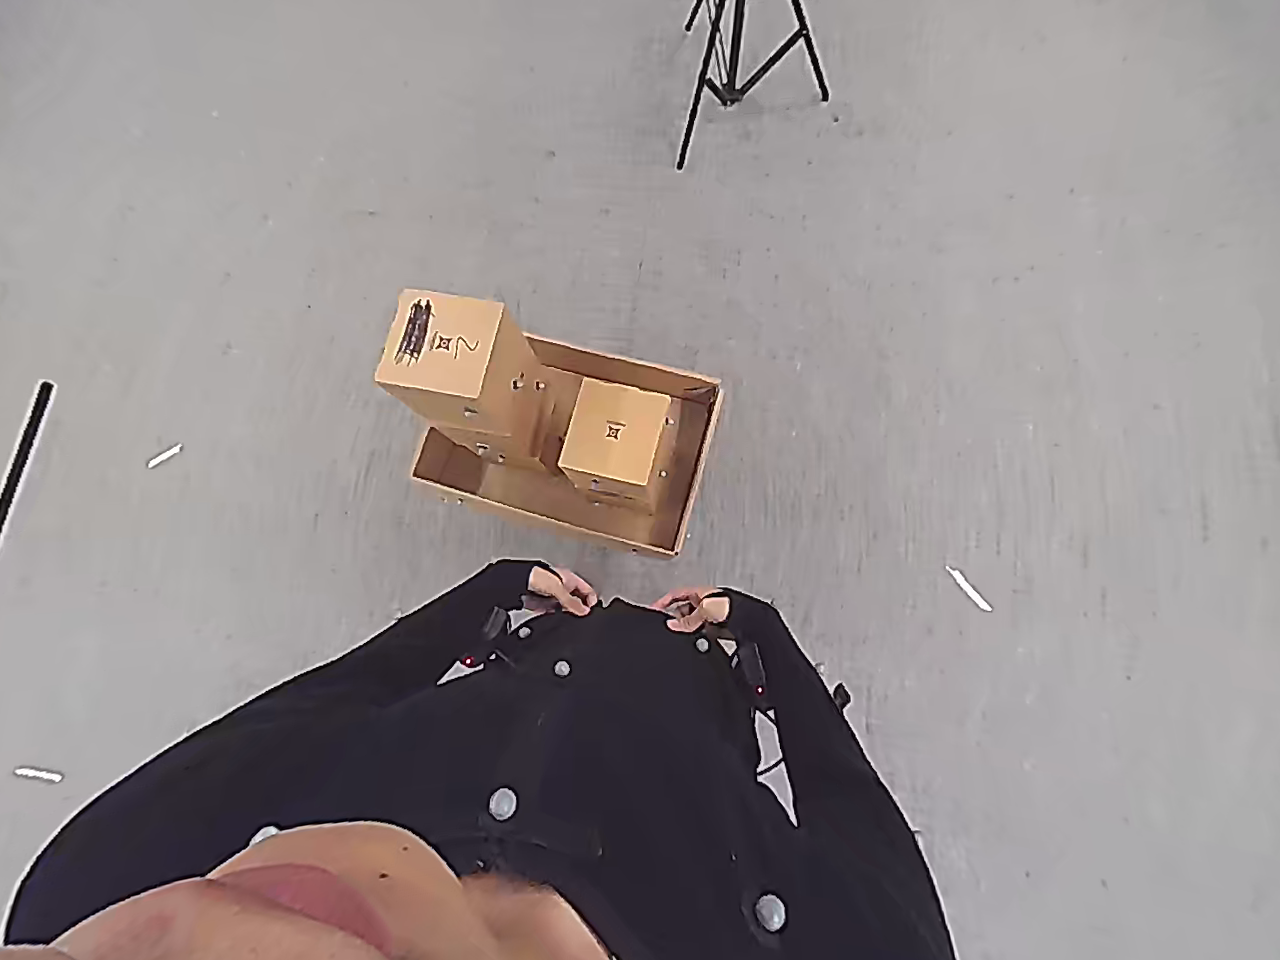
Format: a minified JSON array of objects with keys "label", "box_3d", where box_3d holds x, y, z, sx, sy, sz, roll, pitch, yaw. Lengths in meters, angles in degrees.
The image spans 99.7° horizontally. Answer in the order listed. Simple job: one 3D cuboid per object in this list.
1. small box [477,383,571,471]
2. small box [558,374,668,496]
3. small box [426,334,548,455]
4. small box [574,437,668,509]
[{"label":"small box","box_3d":[-0.272,-0.128,1.236,0.179,0.176,0.168,12,80,5]},{"label":"small box","box_3d":[-0.041,-0.077,1.044,0.168,0.176,0.179,13,79,6]},{"label":"small box","box_3d":[-0.291,-0.164,1.076,0.168,0.176,0.179,10,79,7]},{"label":"small box","box_3d":[-0.033,-0.043,1.203,0.168,0.176,0.179,13,79,6]}]
